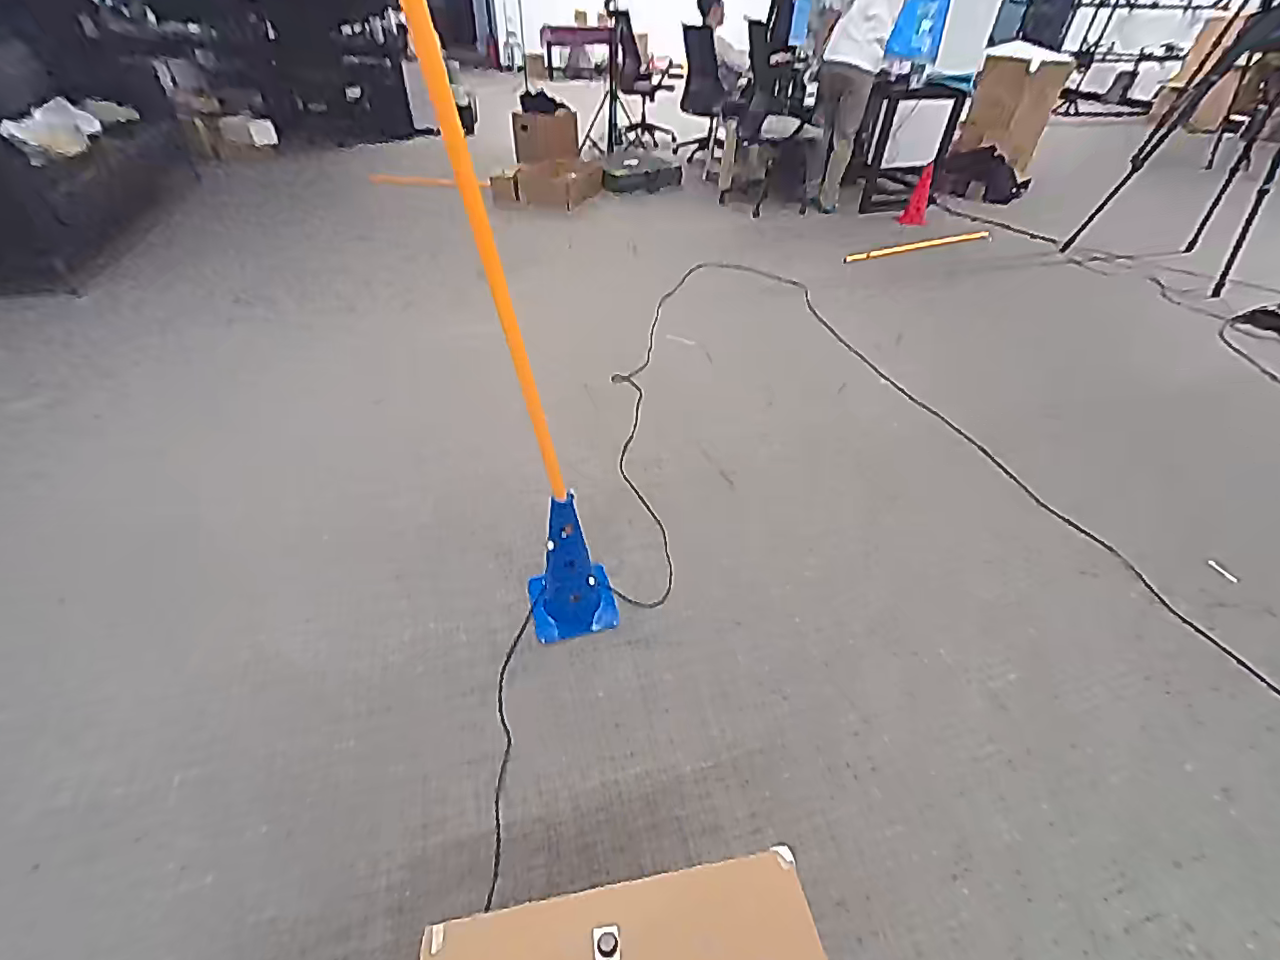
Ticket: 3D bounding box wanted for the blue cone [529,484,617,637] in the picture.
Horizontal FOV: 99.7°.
[{"bbox_3d":[-0.163,0.166,1.207,0.193,0.380,0.192,-13,43,-14],"label":"blue cone"}]
